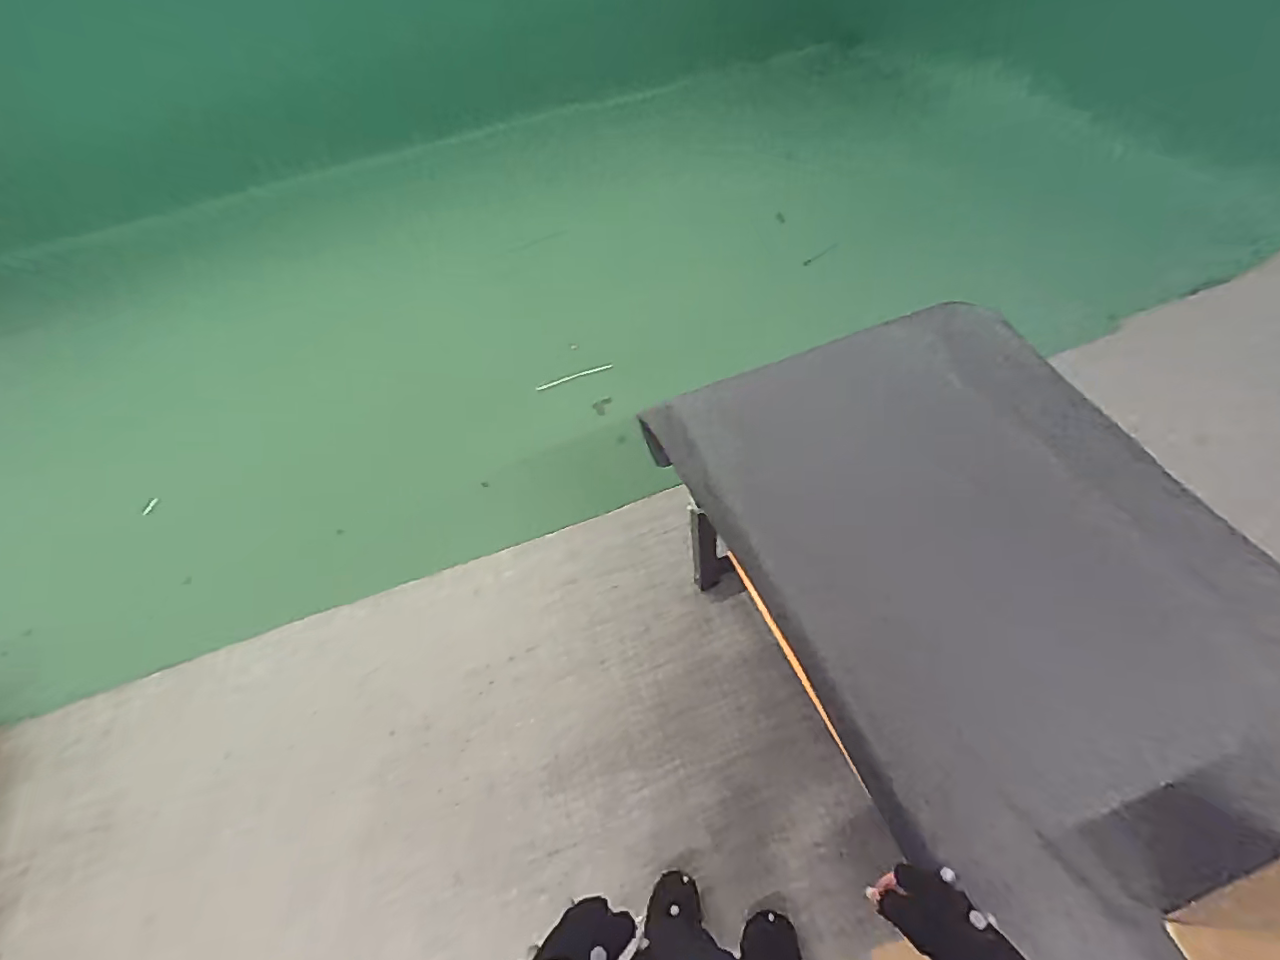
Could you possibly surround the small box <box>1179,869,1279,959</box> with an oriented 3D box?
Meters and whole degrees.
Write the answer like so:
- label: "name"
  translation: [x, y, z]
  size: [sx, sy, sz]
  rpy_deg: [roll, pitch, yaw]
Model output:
- label: "small box"
  translation: [0.609, 0.420, 0.424]
  size: [0.179, 0.176, 0.168]
  rpy_deg: [-19, 54, -6]
